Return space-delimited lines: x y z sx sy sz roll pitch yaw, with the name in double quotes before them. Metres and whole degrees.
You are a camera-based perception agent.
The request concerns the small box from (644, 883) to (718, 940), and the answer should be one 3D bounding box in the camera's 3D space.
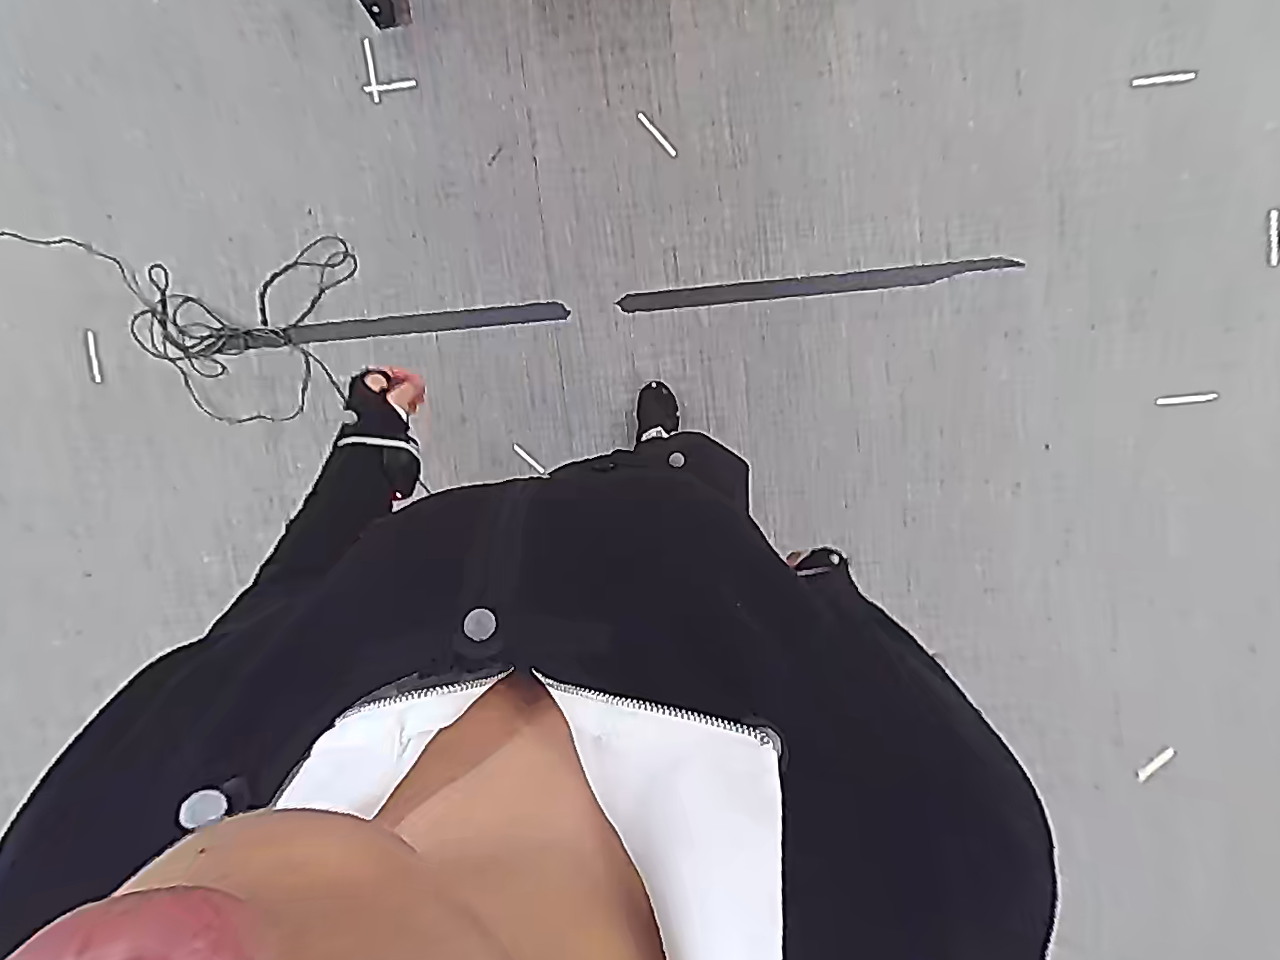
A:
"small box" 0.103 1.081 1.300 0.168 0.176 0.179 -8 95 2
